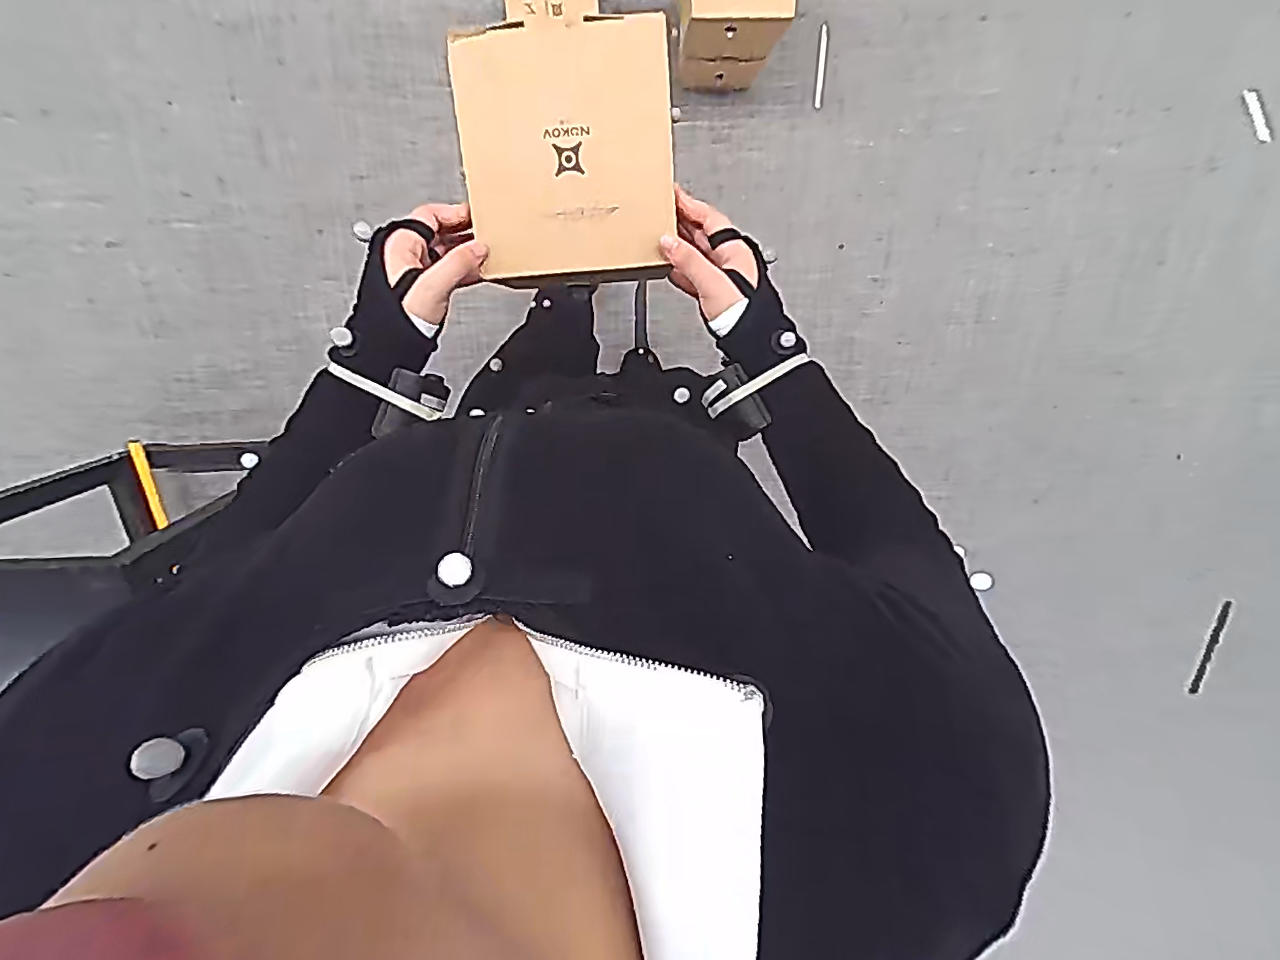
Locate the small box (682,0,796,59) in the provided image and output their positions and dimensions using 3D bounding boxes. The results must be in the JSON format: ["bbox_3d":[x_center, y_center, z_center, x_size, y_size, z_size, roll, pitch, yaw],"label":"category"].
[{"bbox_3d":[0.166,-0.859,0.938,0.179,0.176,0.168,-1,110,-2],"label":"small box"}]

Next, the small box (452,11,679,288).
[{"bbox_3d":[-0.055,-0.279,0.497,0.168,0.176,0.179,-4,107,1],"label":"small box"}]

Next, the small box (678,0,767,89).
[{"bbox_3d":[0.167,-0.917,1.094,0.168,0.176,0.179,0,111,-2],"label":"small box"}]
